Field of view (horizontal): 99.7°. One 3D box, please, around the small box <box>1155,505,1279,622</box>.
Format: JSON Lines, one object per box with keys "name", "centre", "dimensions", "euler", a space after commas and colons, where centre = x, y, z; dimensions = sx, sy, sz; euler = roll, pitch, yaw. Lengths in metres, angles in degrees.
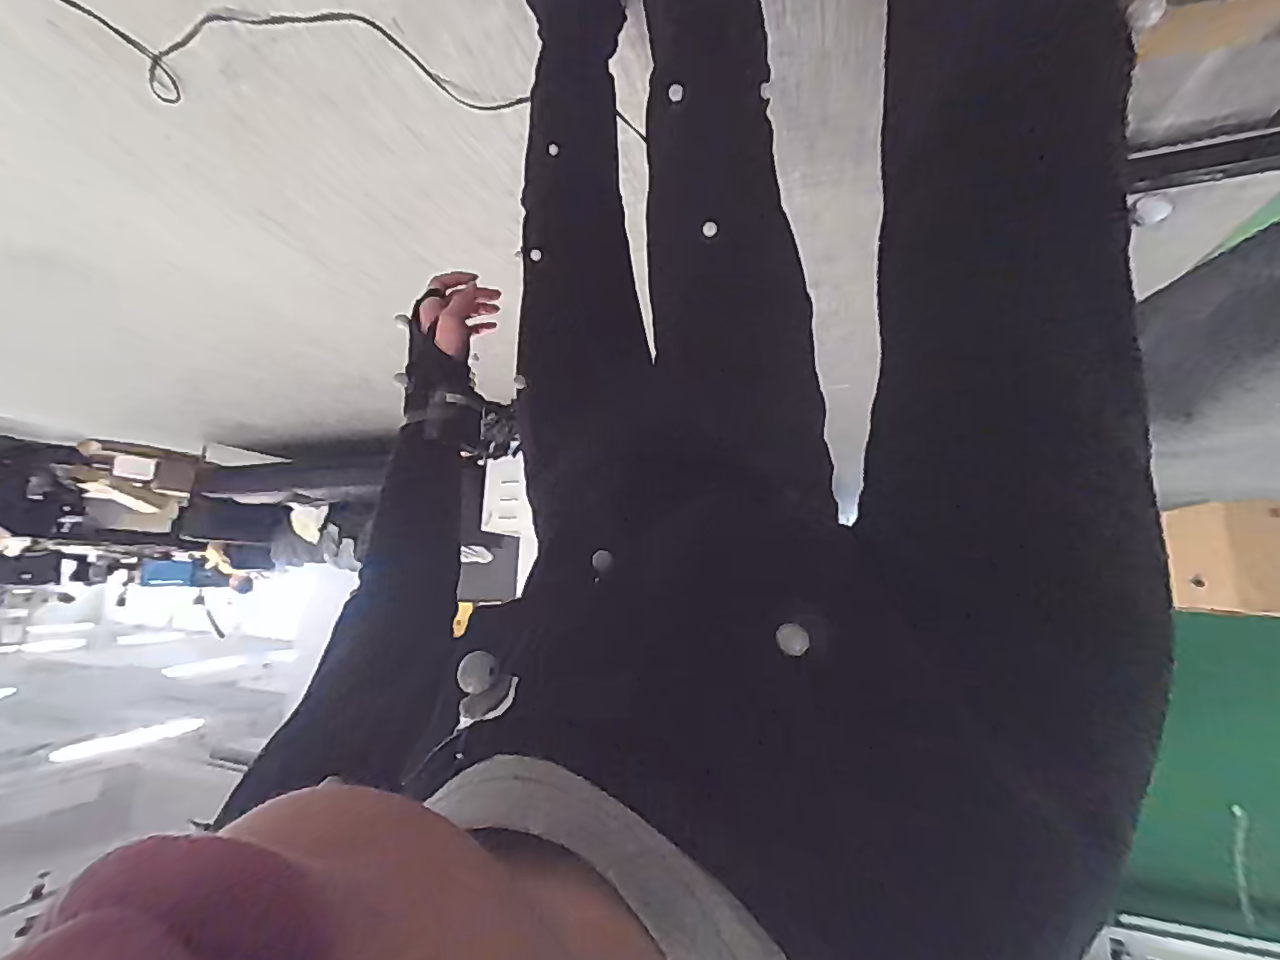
{"name": "small box", "centre": [0.955, 0.132, 0.843], "dimensions": [0.168, 0.176, 0.179], "euler": [0, 170, 16]}
